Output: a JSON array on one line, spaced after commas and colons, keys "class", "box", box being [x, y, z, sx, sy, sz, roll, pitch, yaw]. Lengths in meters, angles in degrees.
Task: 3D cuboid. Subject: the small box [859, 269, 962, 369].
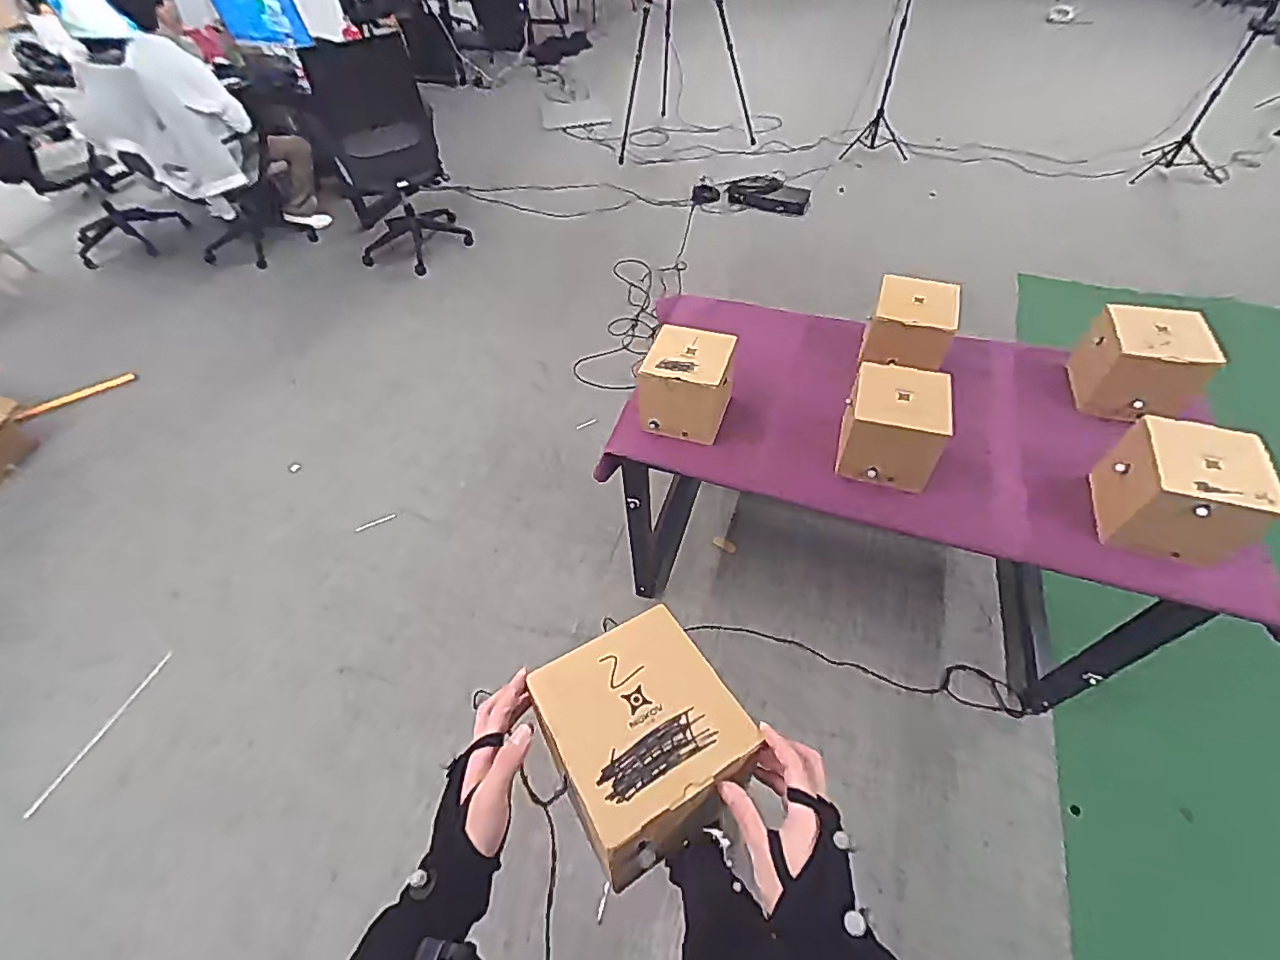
[{"class": "small box", "box": [0.616, -0.353, 1.244, 0.168, 0.176, 0.179, 15, 57, 16]}]

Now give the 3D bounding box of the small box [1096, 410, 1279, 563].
[{"class": "small box", "box": [0.923, 0.012, 0.924, 0.168, 0.176, 0.179, 14, 55, 17]}]

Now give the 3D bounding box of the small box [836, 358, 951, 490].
[{"class": "small box", "box": [0.493, -0.111, 1.063, 0.168, 0.176, 0.179, 13, 53, 16]}]

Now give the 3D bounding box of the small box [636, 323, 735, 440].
[{"class": "small box", "box": [0.103, -0.210, 1.173, 0.168, 0.176, 0.179, 13, 52, 15]}]

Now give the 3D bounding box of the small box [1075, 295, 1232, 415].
[{"class": "small box", "box": [1.045, -0.256, 1.123, 0.168, 0.176, 0.179, 11, 54, 17]}]
